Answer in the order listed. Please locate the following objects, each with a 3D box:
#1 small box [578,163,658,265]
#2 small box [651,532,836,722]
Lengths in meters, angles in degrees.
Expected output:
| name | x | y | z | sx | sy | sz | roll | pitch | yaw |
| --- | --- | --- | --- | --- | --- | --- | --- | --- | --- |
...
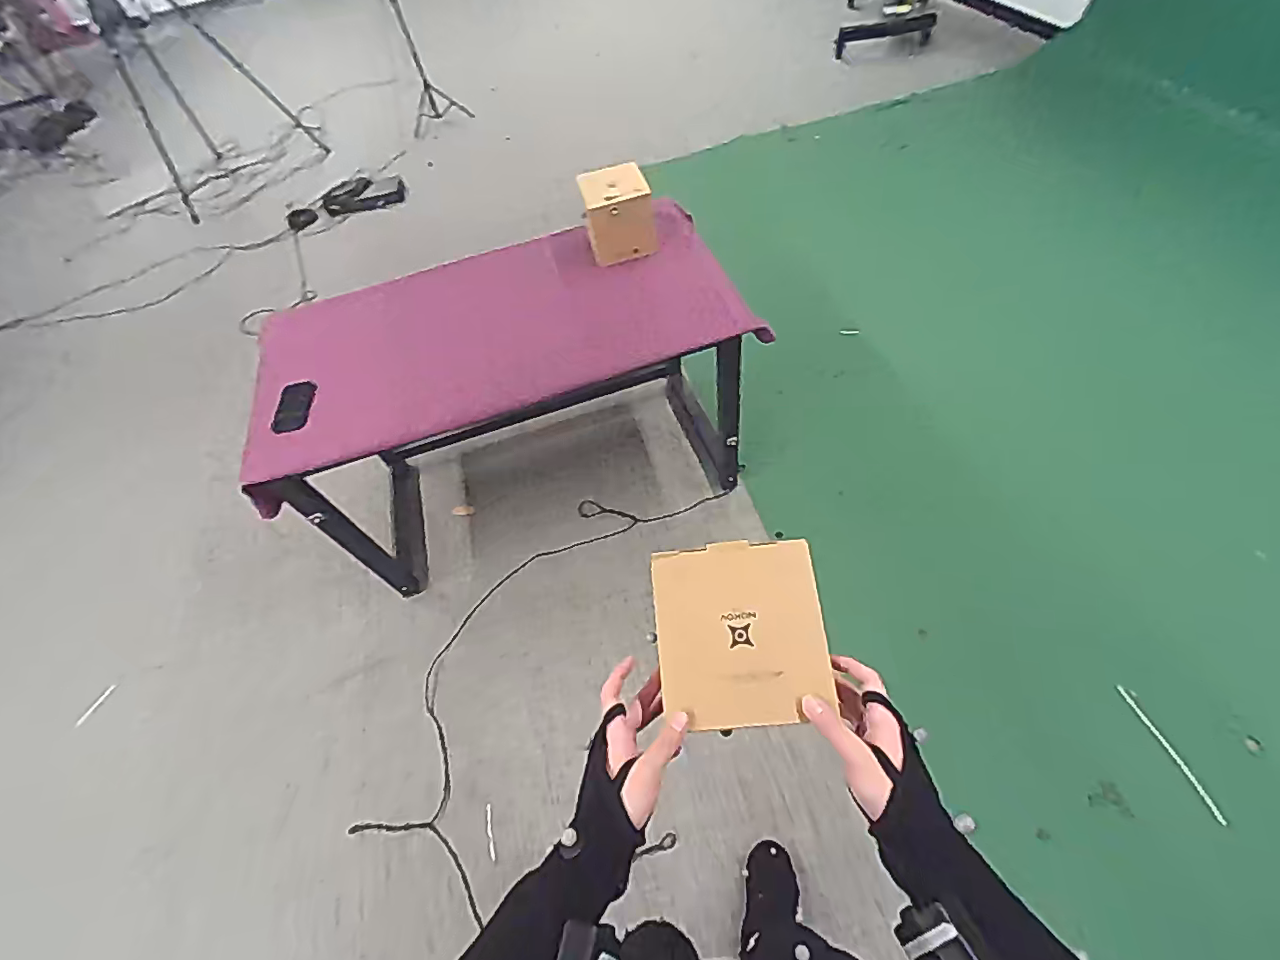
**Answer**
| name | x | y | z | sx | sy | sz | roll | pitch | yaw |
| --- | --- | --- | --- | --- | --- | --- | --- | --- | --- |
| small box | -0.057 | -0.709 | 1.448 | 0.168 | 0.176 | 0.179 | -17 | 55 | -1 |
| small box | 0.101 | 0.169 | 0.606 | 0.168 | 0.176 | 0.179 | -5 | 69 | 3 |
